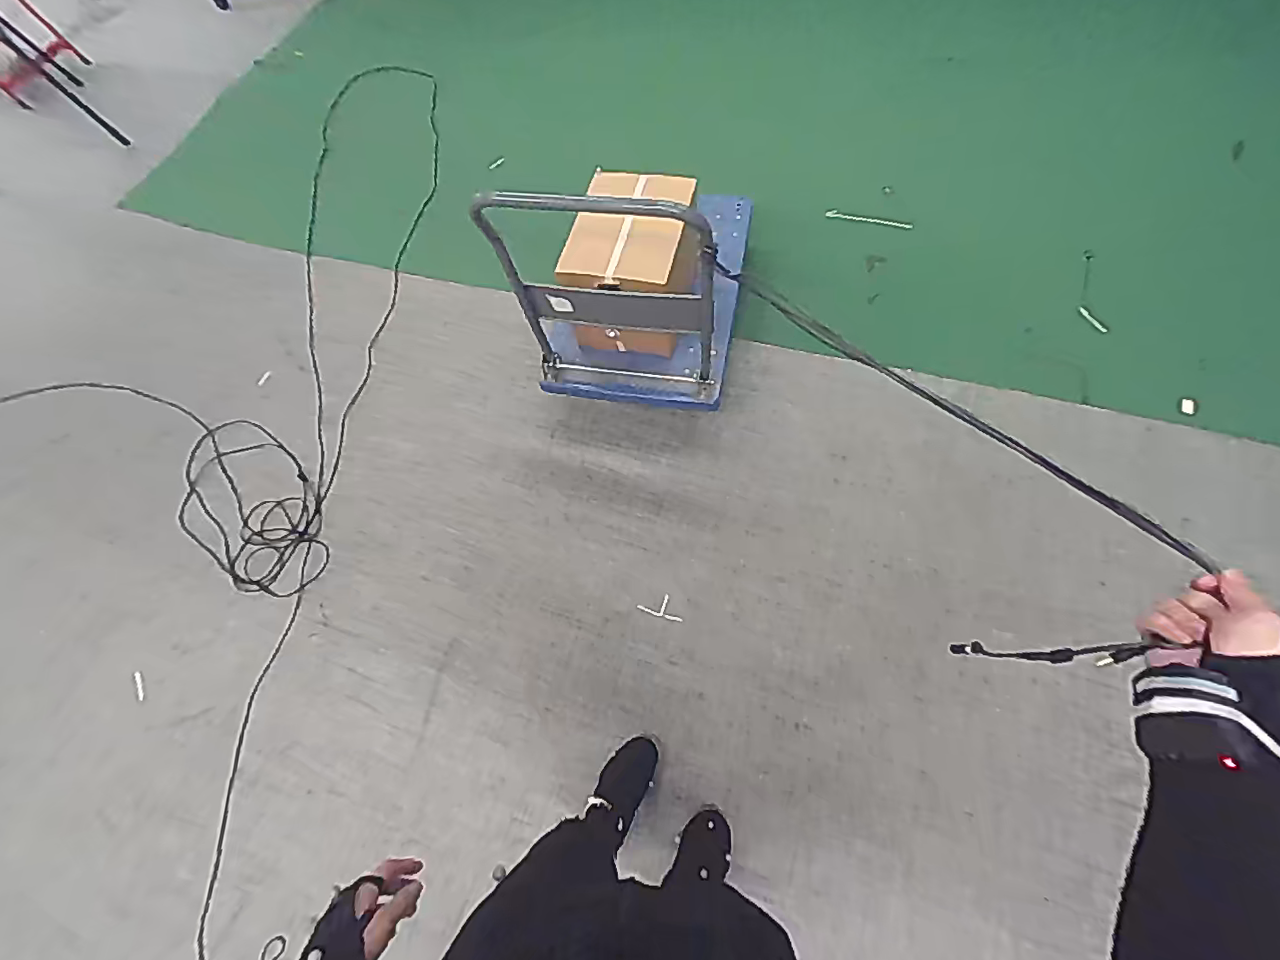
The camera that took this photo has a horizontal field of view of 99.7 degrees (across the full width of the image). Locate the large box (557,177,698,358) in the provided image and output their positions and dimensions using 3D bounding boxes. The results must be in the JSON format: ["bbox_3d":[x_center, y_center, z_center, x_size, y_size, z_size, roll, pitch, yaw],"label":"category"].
[{"bbox_3d":[-0.016,-0.632,1.627,0.320,0.320,0.408,12,67,11],"label":"large box"}]
